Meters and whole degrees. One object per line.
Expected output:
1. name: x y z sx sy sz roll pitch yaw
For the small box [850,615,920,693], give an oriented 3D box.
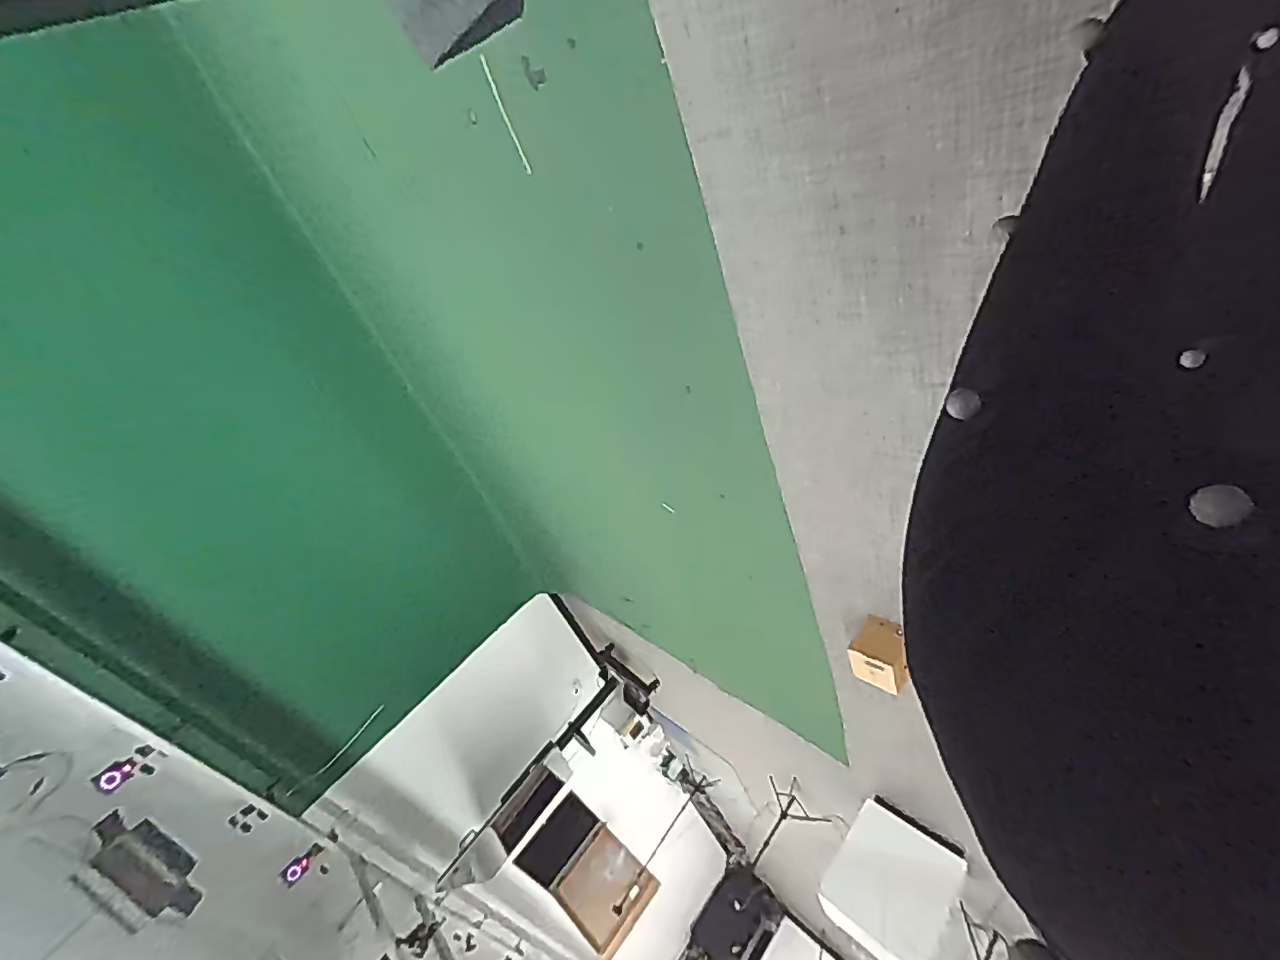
1. small box: 0.882 0.616 1.939 0.168 0.176 0.179 17 141 48
